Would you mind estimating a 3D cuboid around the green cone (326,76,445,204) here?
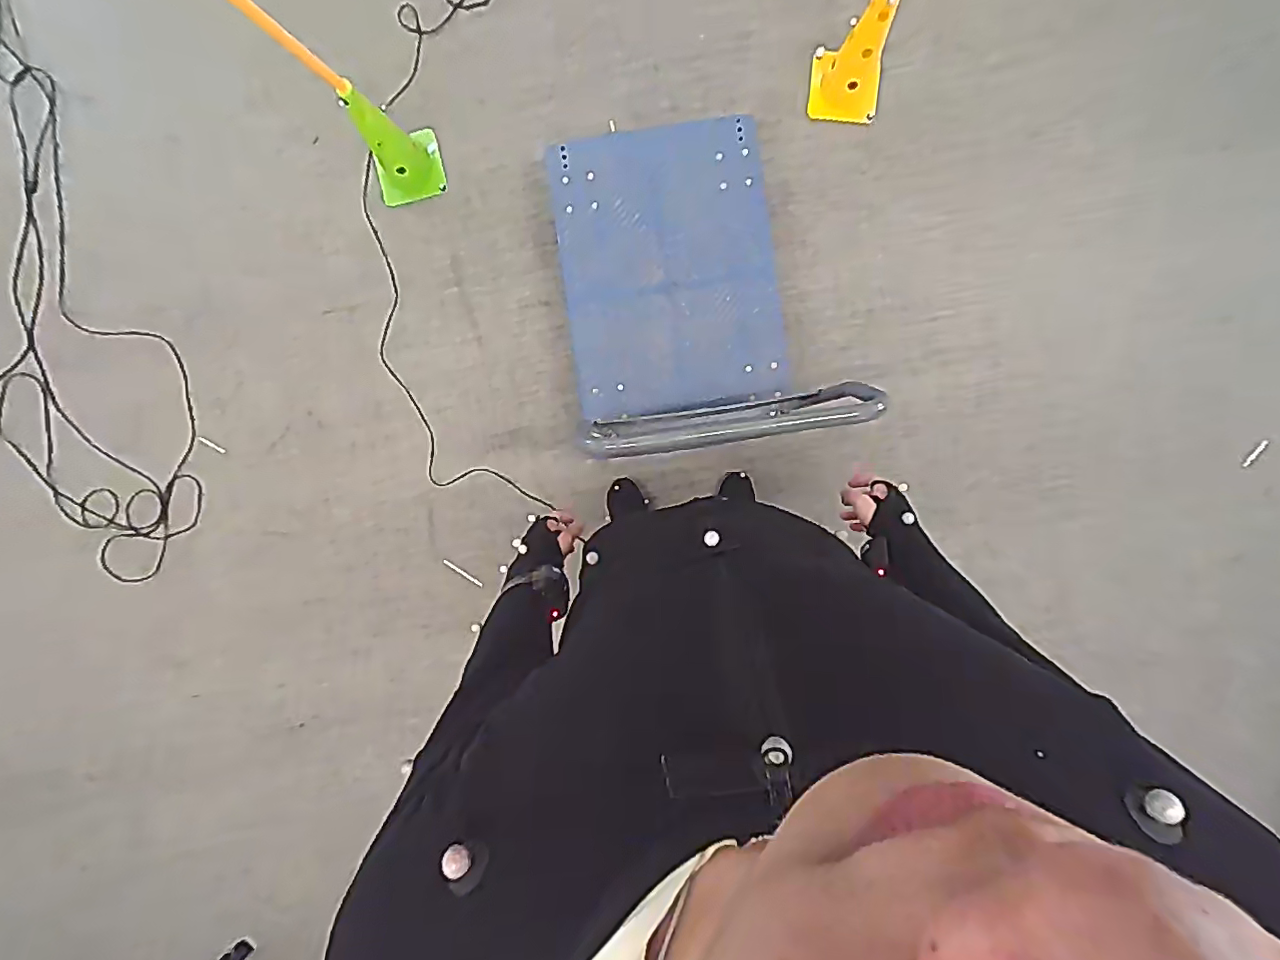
[{"bbox_3d":[-0.712,-0.950,1.461,0.202,0.368,0.200,-15,90,3],"label":"green cone"}]
